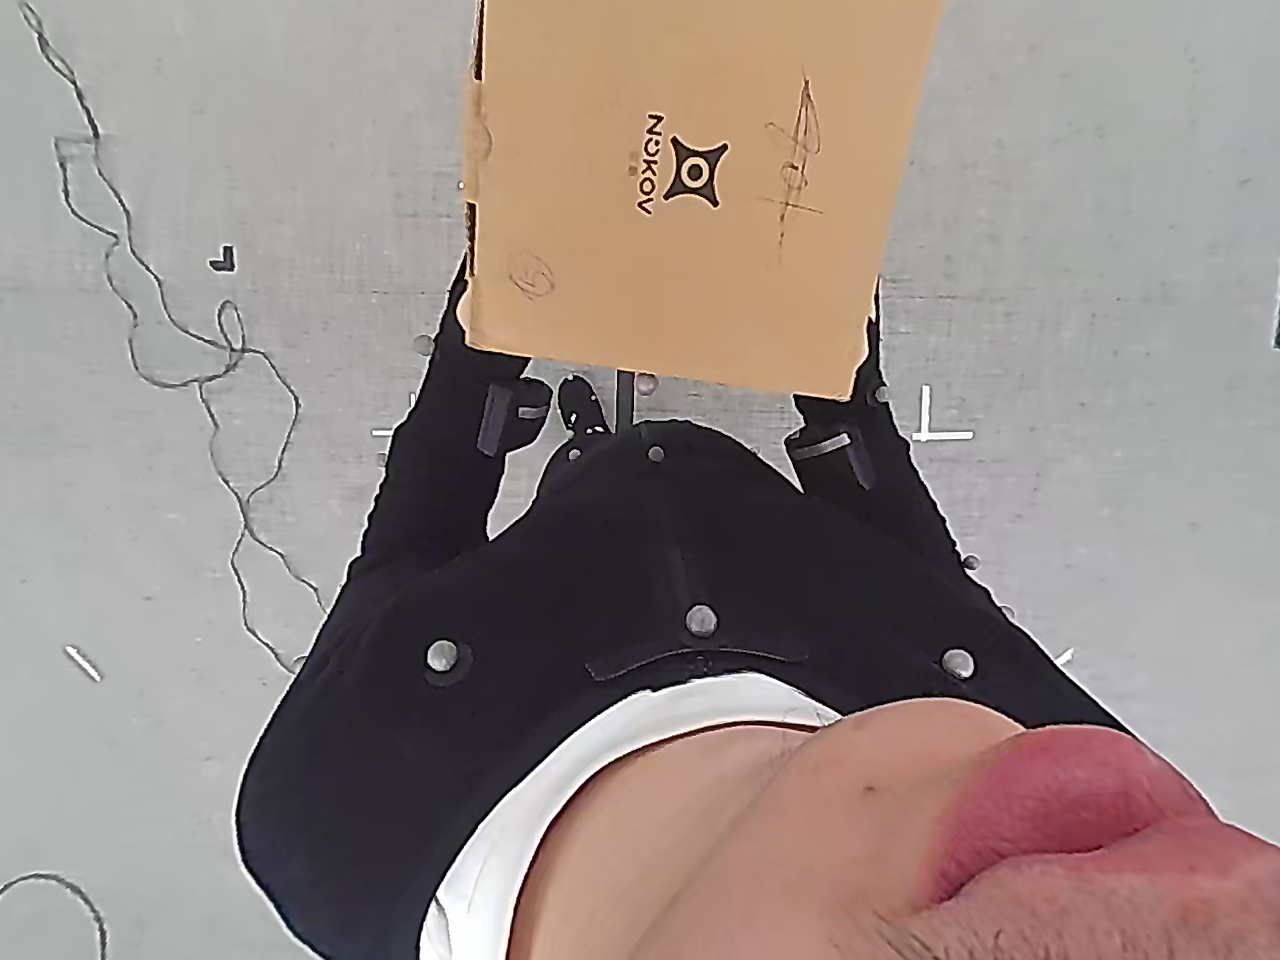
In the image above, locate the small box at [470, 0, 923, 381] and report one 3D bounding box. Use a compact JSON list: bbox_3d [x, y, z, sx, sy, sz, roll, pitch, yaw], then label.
[{"bbox_3d":[0.018,-0.157,0.307,0.179,0.176,0.168,7,108,-2],"label":"small box"}]
